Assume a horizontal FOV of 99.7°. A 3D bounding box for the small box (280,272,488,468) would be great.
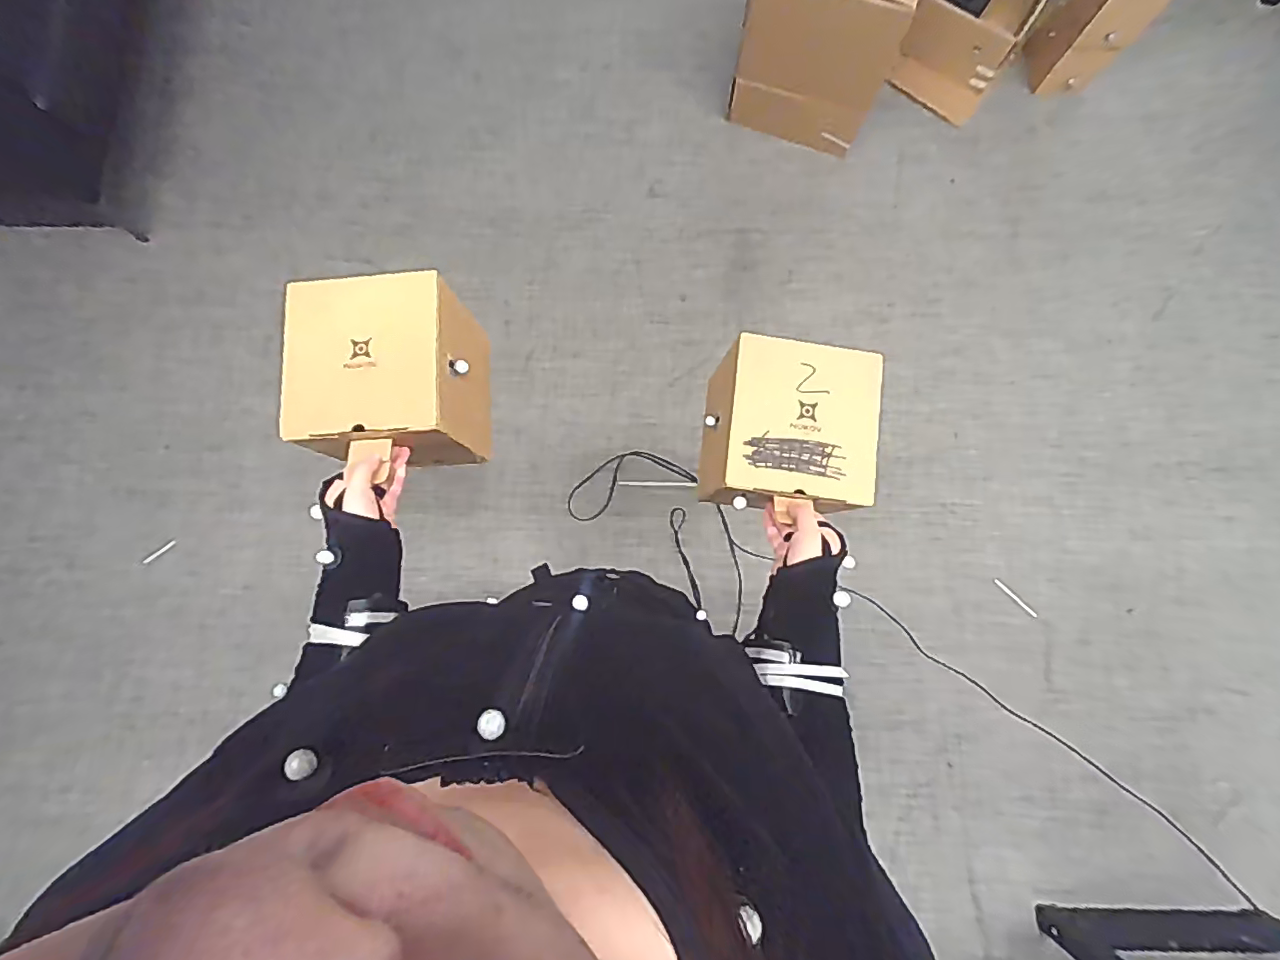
[{"bbox_3d":[-0.285,-0.118,0.638,0.168,0.176,0.179,-4,81,1],"label":"small box"}]
